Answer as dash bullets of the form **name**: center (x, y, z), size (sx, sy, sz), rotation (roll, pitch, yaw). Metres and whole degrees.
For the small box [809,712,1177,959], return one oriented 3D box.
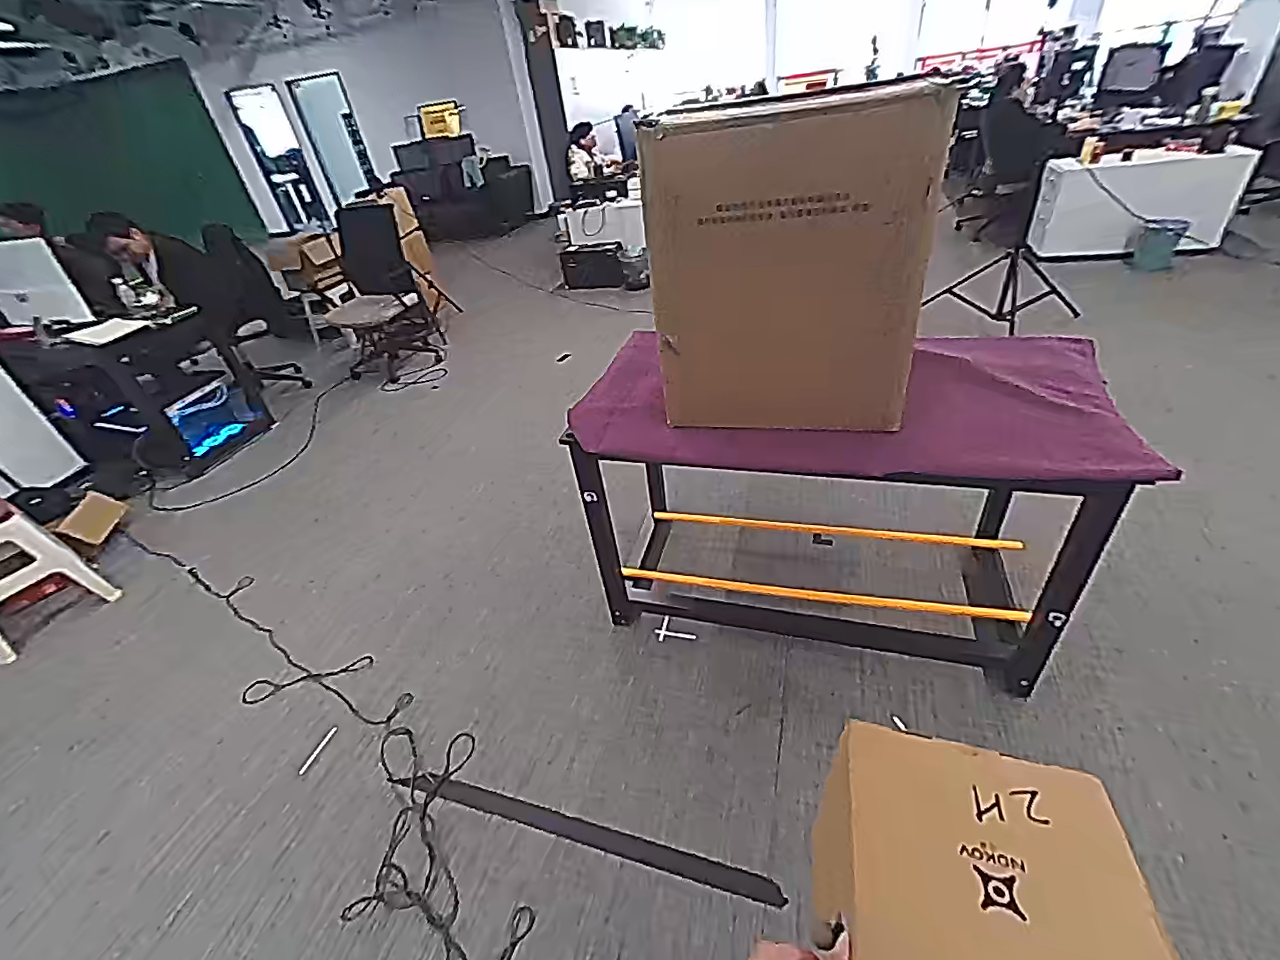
- **small box**: center (0.213, 0.300, 0.366), size (0.168, 0.176, 0.179), rotation (8, 33, 14)
